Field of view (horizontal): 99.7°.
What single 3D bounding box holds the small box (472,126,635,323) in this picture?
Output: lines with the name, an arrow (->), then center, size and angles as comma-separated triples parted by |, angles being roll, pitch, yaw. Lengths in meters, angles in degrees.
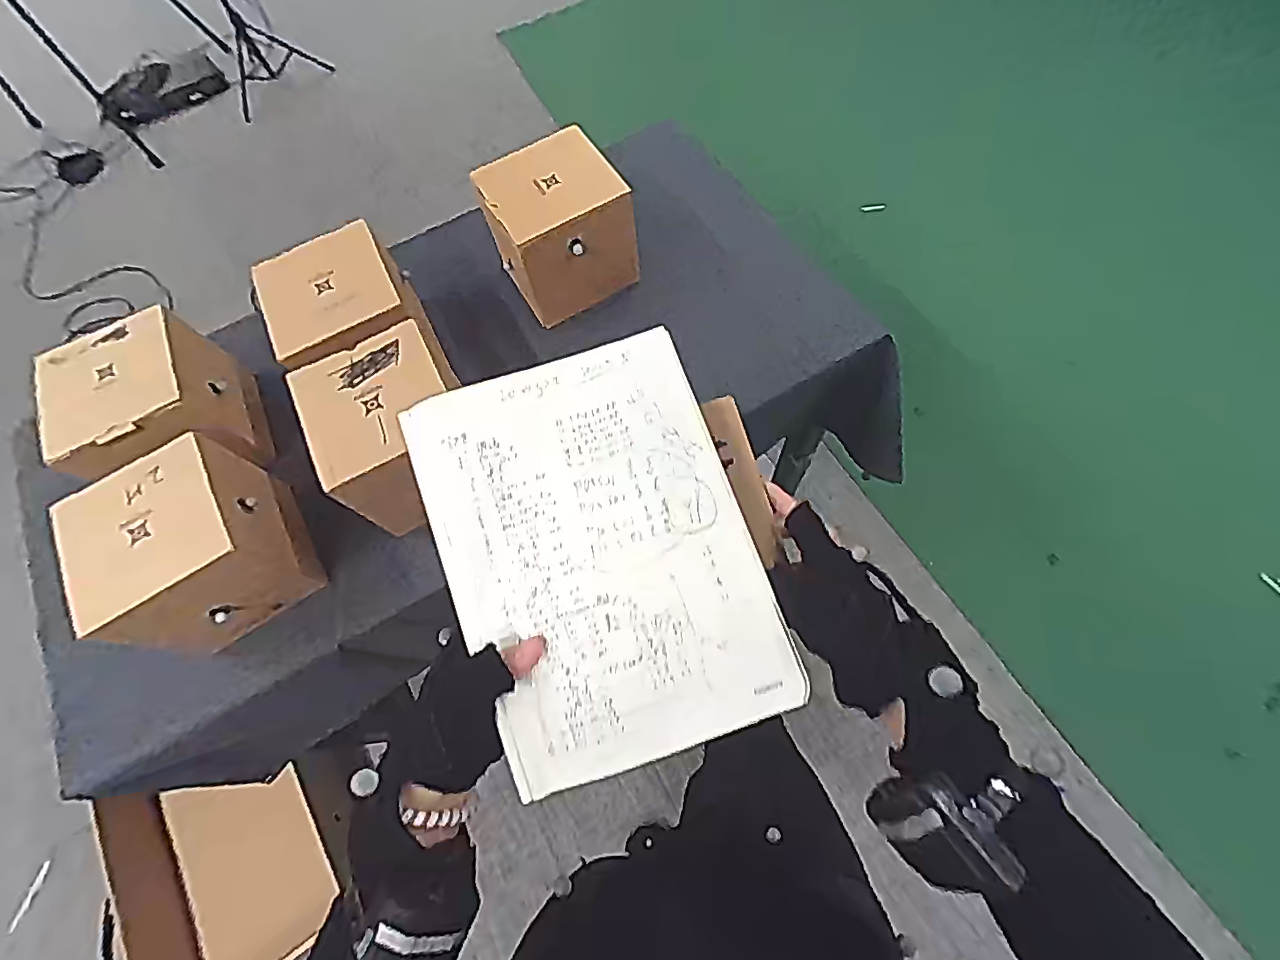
small box -> -0.118, -0.375, 0.814 | 0.179, 0.176, 0.168 | -30, 68, -6
